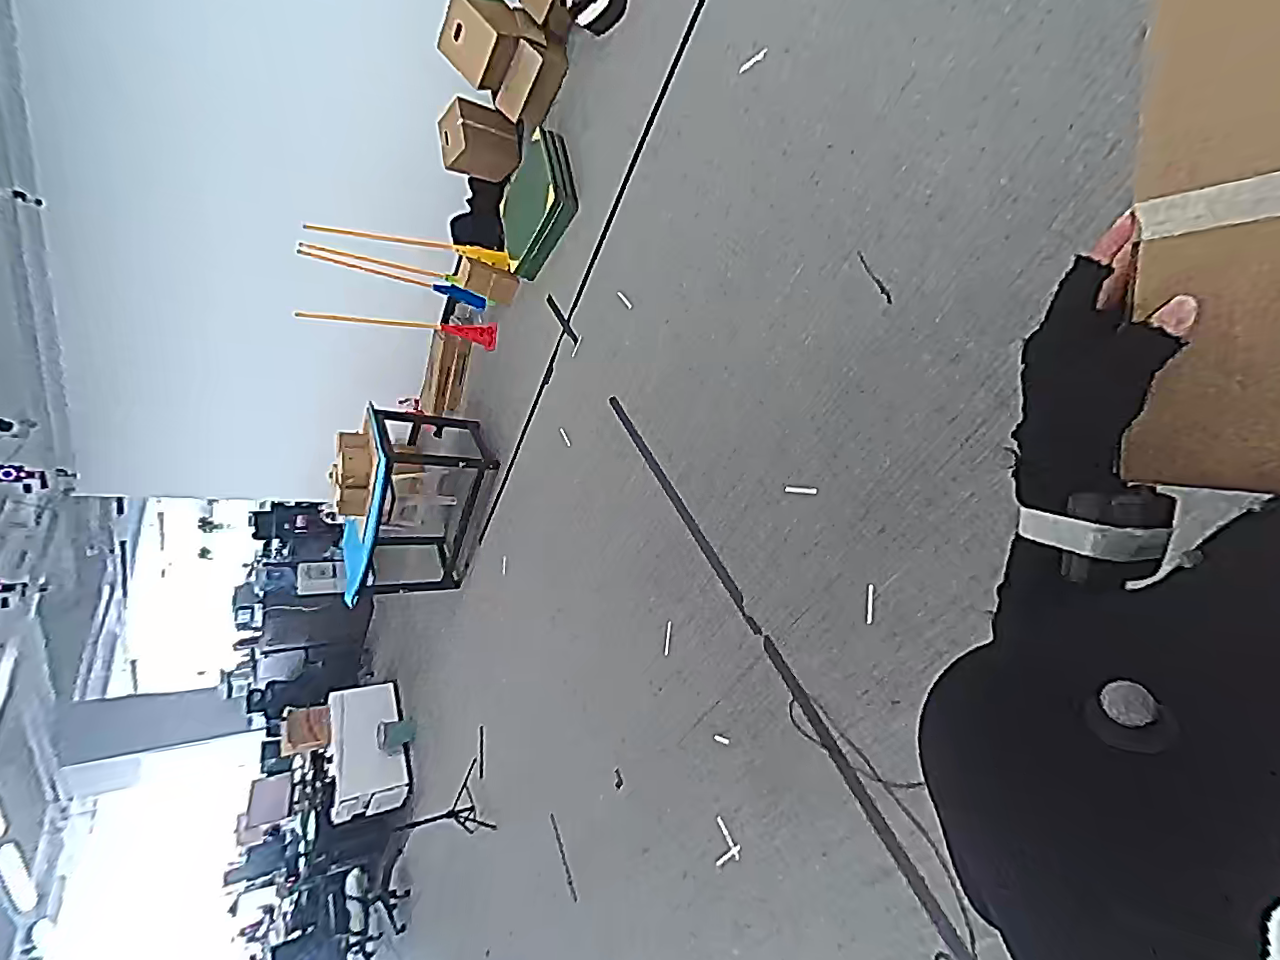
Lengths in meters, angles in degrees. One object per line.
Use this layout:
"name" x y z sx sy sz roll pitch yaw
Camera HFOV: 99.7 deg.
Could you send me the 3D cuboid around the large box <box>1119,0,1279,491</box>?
"large box" 0.533 -0.168 0.262 0.408 0.320 0.320 10 113 50
